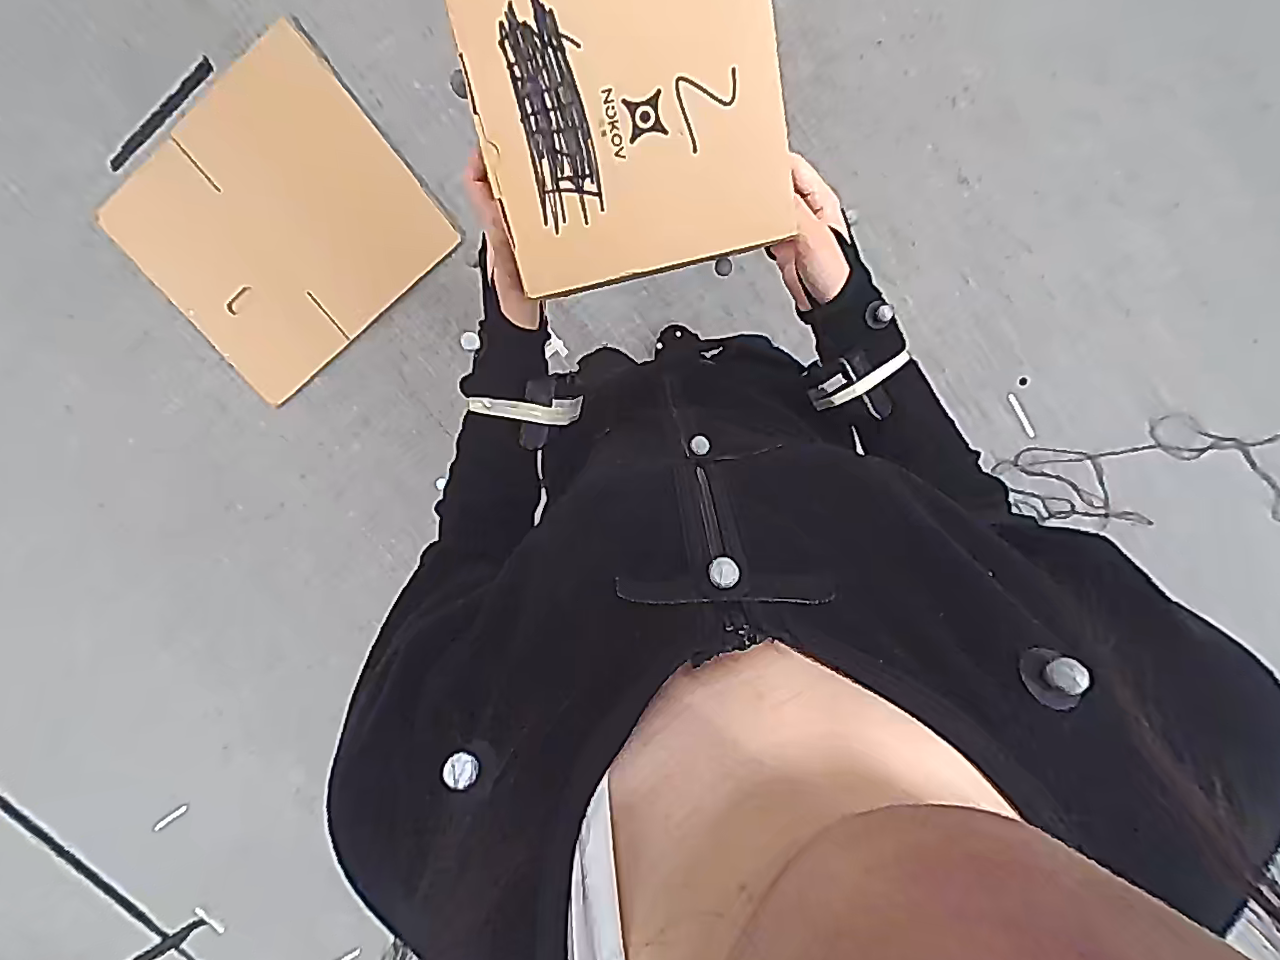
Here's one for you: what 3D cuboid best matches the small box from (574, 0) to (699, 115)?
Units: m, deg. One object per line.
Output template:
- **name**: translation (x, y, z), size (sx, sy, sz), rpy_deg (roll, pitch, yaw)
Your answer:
- **small box**: translation (-0.002, -0.746, 0.906), size (0.179, 0.176, 0.168), rpy_deg (11, 106, -3)
